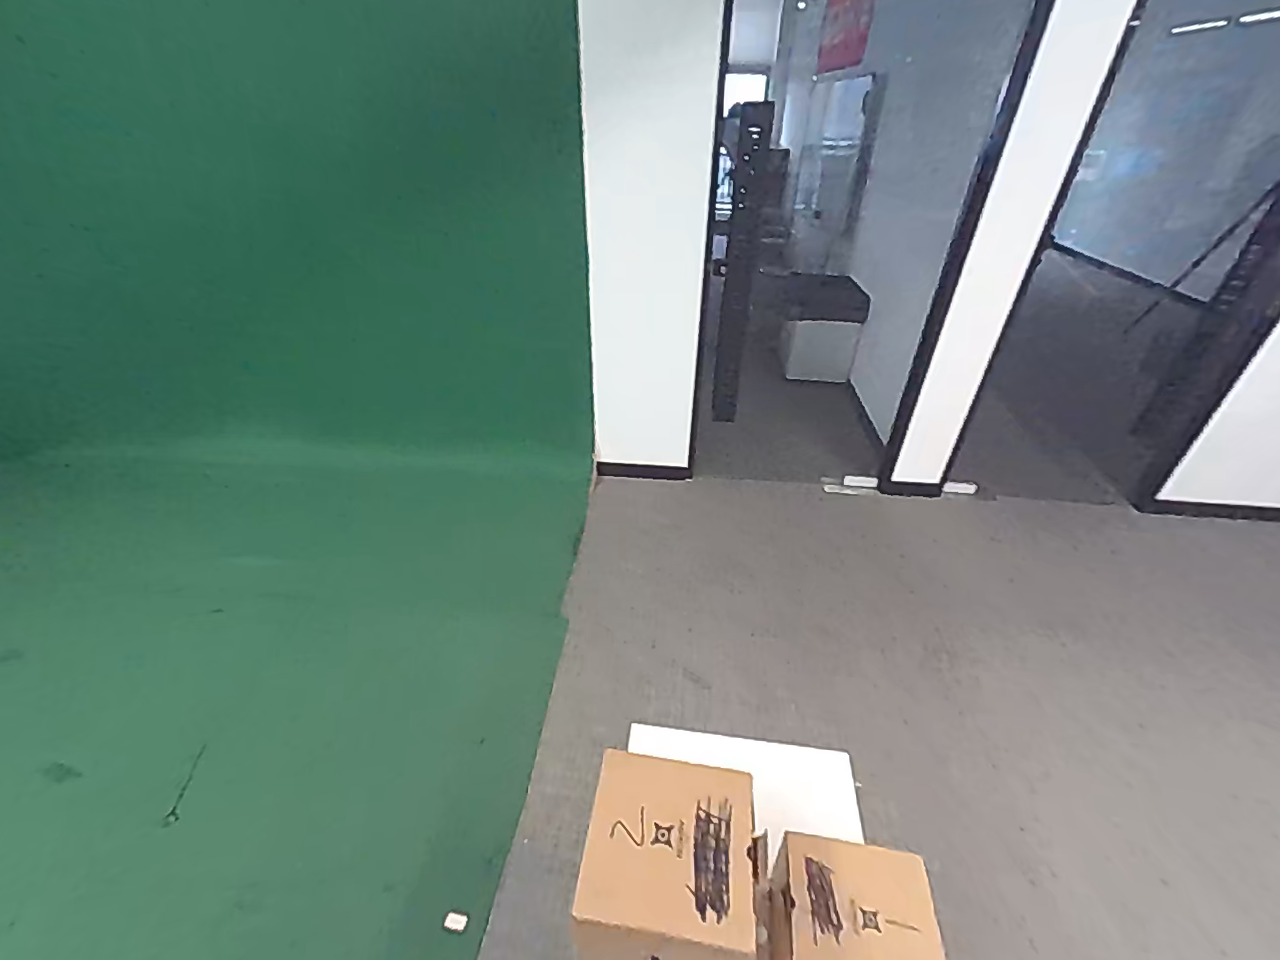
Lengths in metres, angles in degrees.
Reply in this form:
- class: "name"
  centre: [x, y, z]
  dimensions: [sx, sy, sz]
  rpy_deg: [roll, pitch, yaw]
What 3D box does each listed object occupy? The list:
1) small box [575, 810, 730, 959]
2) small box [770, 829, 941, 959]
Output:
- class: "small box"
  centre: [0.020, 0.572, 0.713]
  dimensions: [0.179, 0.176, 0.168]
  rpy_deg: [7, 36, 6]
- class: "small box"
  centre: [0.264, 0.590, 0.698]
  dimensions: [0.179, 0.176, 0.168]
  rpy_deg: [7, 35, 8]
